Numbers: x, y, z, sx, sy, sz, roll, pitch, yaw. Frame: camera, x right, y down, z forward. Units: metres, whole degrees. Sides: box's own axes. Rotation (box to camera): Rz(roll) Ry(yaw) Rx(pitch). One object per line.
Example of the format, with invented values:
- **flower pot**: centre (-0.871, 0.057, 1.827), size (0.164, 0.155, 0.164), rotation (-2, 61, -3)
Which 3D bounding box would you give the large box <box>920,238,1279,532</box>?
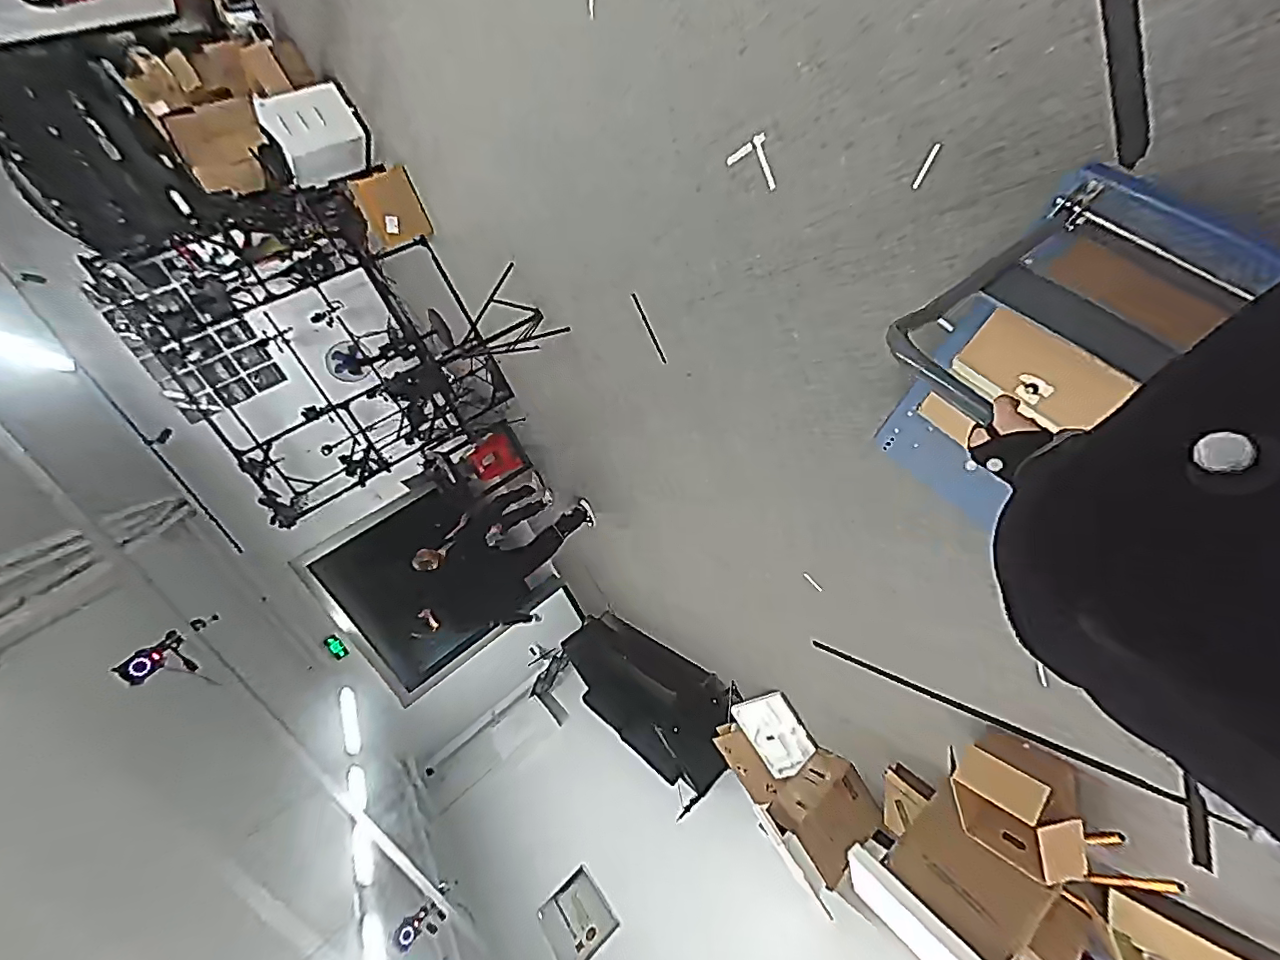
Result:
- **large box**: centre (0.861, -0.185, 1.038), size (0.408, 0.320, 0.320), rotation (46, 155, 22)
